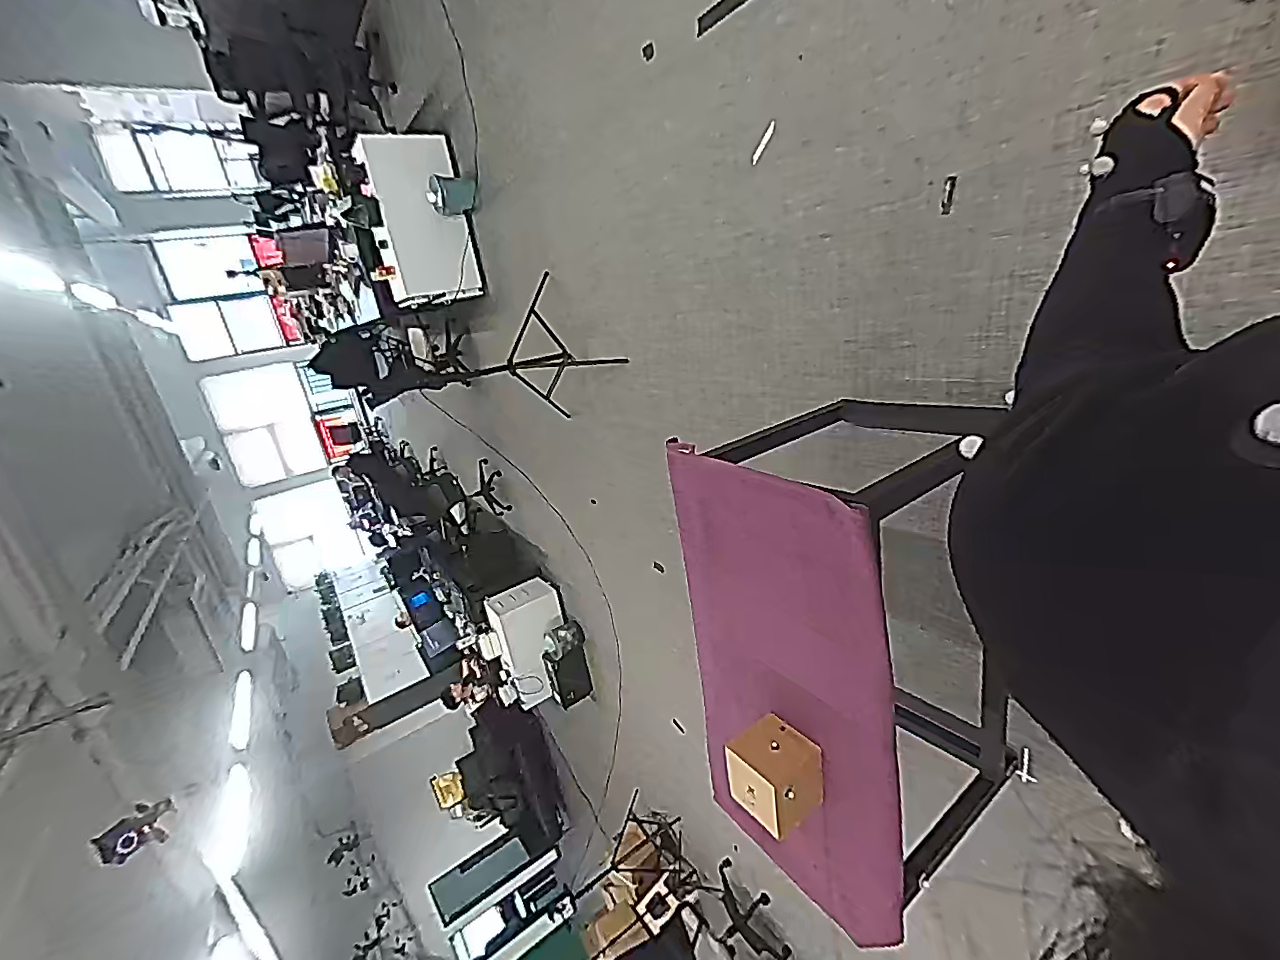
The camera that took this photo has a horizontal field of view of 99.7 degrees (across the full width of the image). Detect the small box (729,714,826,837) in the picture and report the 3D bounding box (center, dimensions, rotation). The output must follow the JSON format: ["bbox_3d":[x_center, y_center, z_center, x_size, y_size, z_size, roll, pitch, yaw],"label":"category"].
[{"bbox_3d":[0.347,0.729,1.357,0.168,0.176,0.179,20,125,54],"label":"small box"}]
